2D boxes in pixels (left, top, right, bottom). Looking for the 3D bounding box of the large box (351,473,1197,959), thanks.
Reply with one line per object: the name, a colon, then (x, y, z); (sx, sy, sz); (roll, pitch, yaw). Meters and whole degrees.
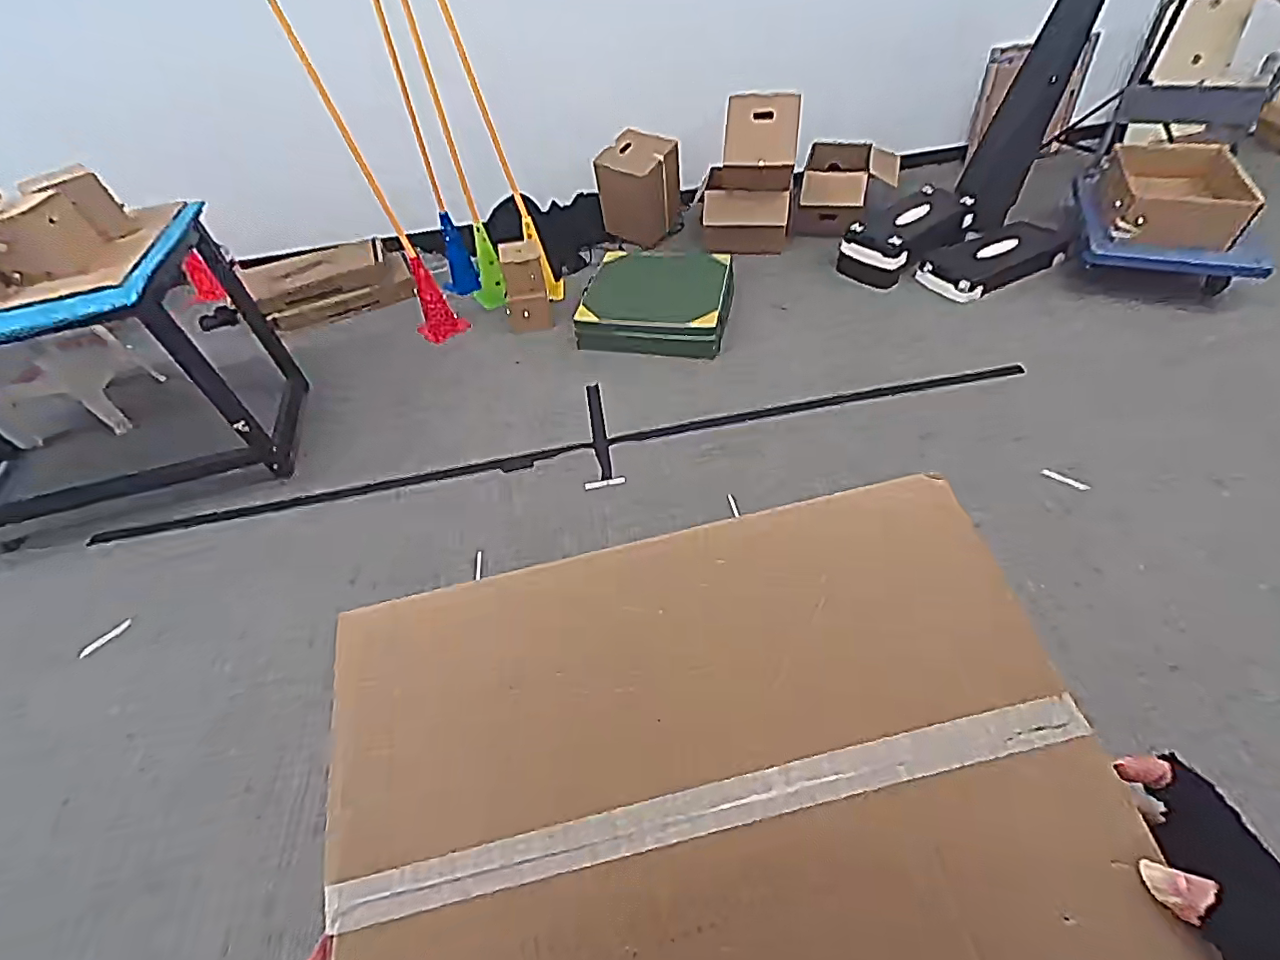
large box: (0.050, 0.242, 0.429); (0.408, 0.320, 0.320); (-14, 62, -2)
